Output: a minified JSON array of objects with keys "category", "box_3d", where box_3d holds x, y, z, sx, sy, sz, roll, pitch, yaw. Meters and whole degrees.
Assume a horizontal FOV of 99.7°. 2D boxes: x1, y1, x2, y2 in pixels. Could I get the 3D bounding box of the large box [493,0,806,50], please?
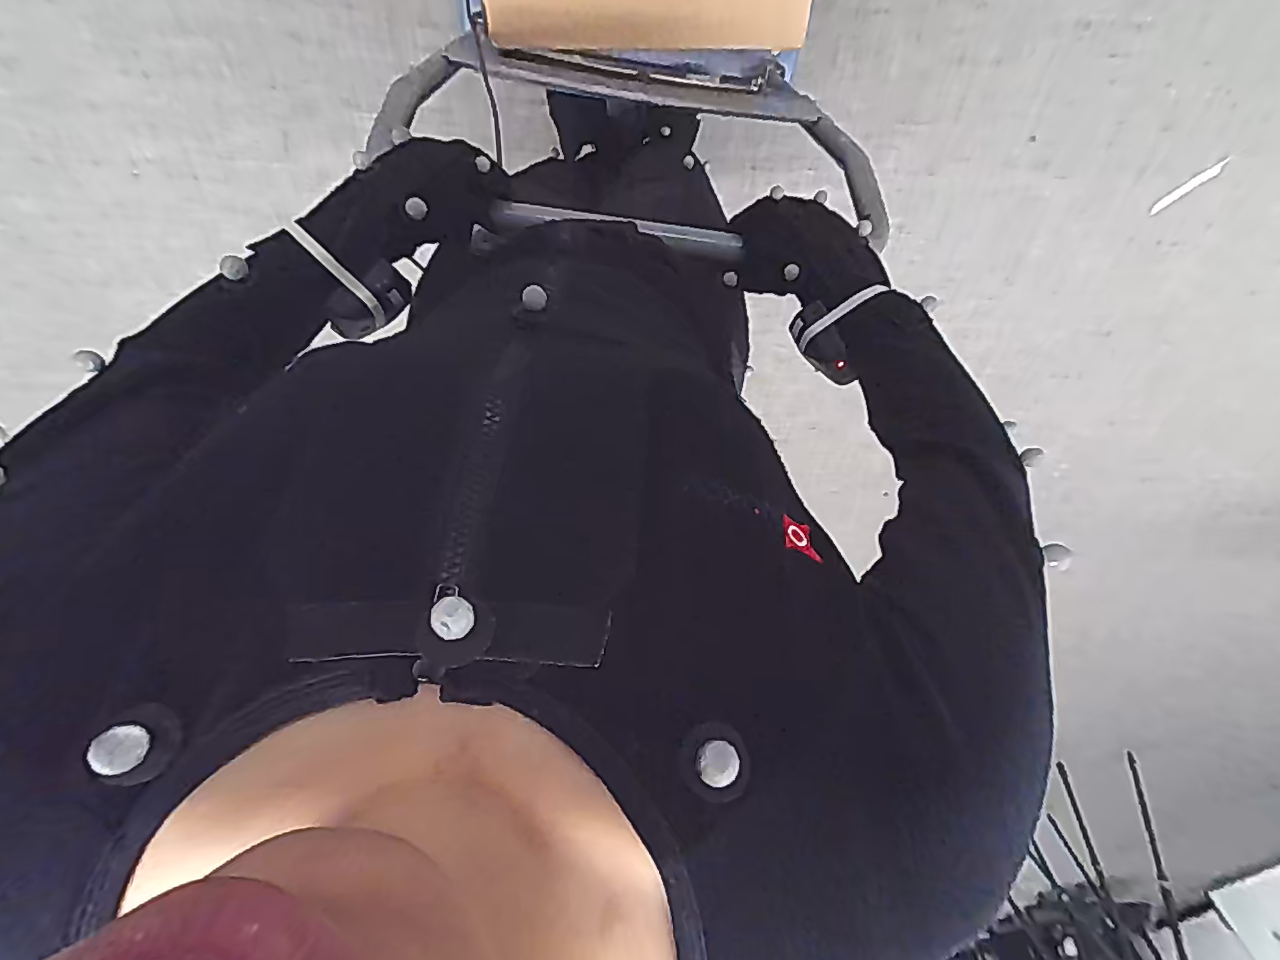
[{"category":"large box","box_3d":[0.003,-0.785,0.718,0.408,0.320,0.320,-2,133,-2]}]
